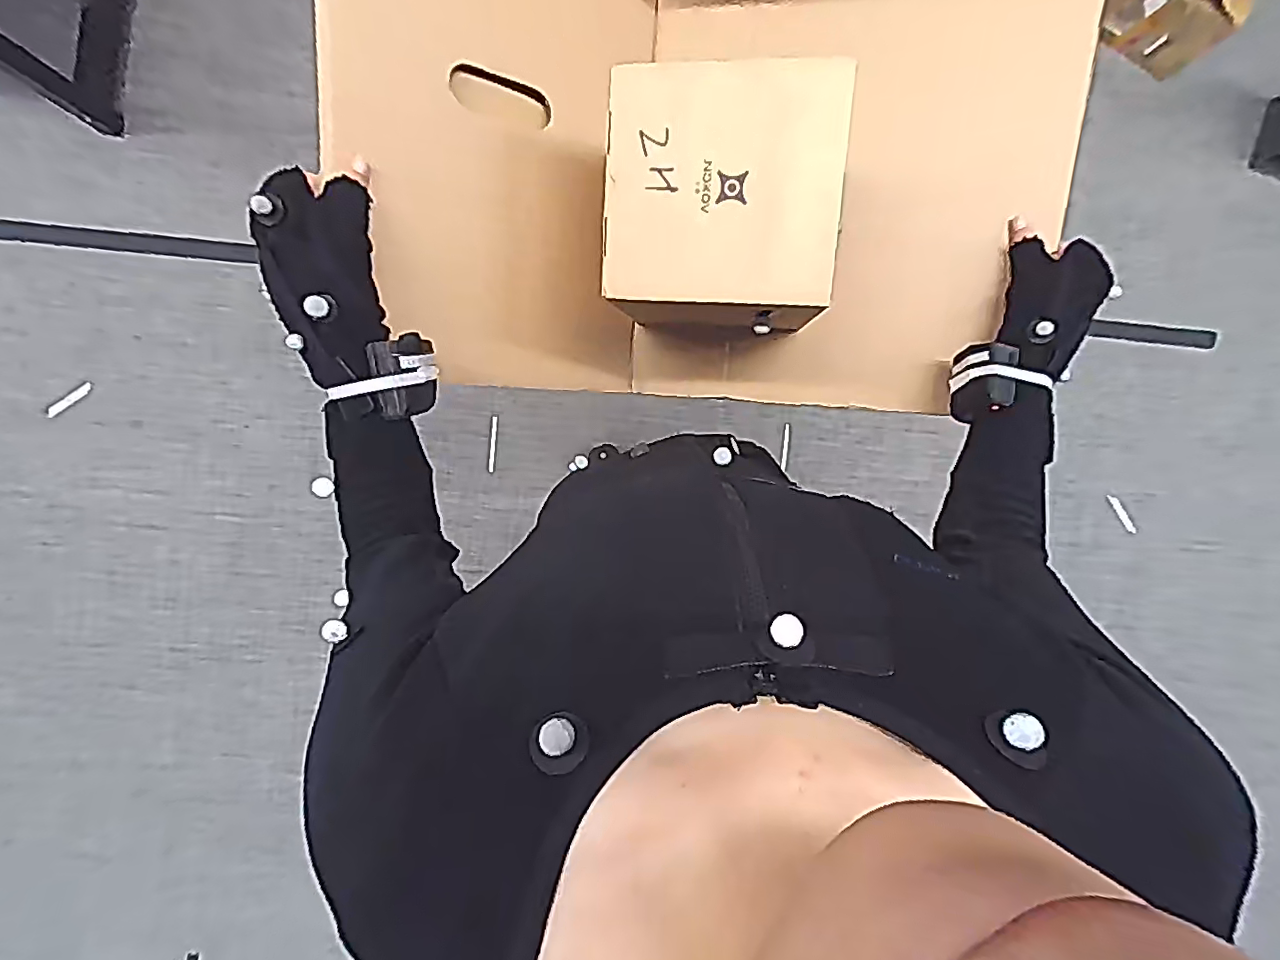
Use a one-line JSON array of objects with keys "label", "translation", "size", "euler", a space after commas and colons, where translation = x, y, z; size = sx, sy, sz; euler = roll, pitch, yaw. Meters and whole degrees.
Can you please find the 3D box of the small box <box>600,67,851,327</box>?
[{"label": "small box", "translation": [0.071, -0.232, 0.484], "size": [0.179, 0.176, 0.168], "euler": [5, 100, 9]}]
